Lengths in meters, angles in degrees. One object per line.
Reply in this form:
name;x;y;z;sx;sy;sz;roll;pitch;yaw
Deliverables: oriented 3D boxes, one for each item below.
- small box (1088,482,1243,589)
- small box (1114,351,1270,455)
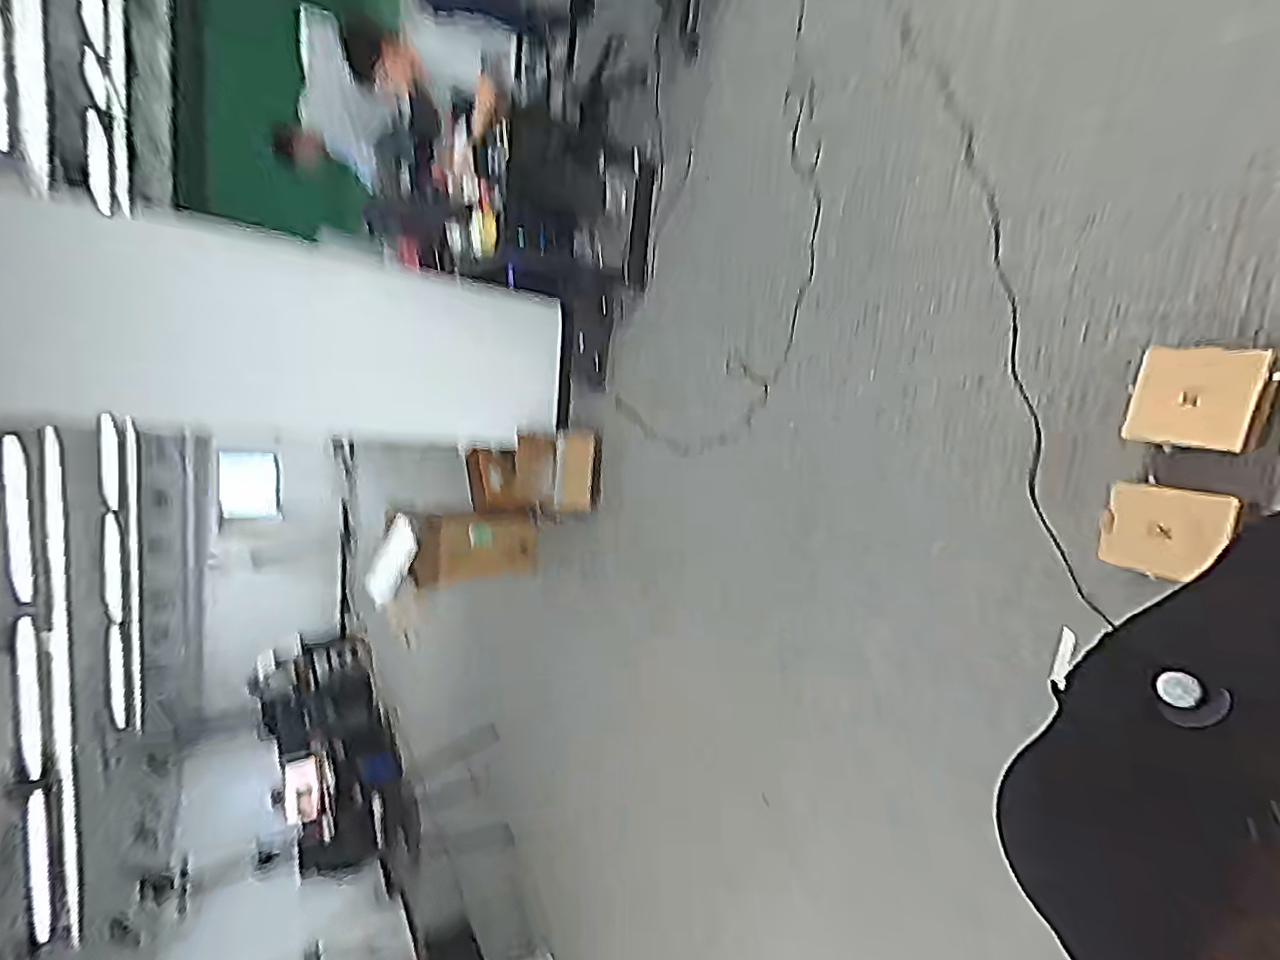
small box;1.036;0.101;1.069;0.179;0.176;0.168;17;105;52
small box;1.060;-0.146;1.039;0.168;0.176;0.179;21;105;52
